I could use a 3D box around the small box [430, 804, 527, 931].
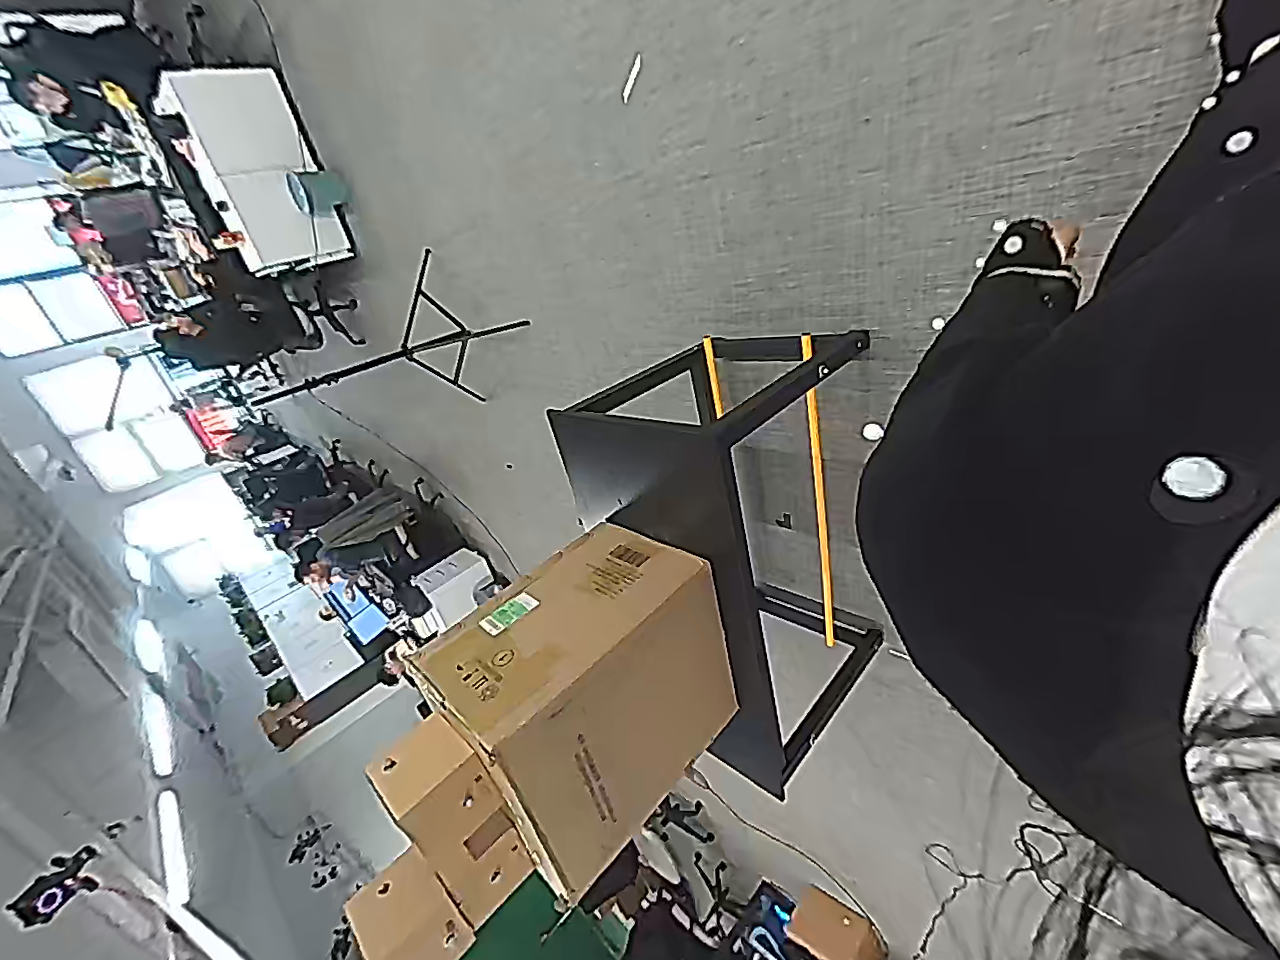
[{"bbox_3d":[-0.376,0.846,1.227,0.179,0.176,0.168,13,125,45],"label":"small box"}]

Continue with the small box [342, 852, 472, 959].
[{"bbox_3d":[-0.480,0.922,1.125,0.179,0.176,0.168,12,126,46],"label":"small box"}]

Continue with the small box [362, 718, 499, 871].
[{"bbox_3d":[-0.415,0.614,1.084,0.179,0.176,0.168,14,129,44],"label":"small box"}]
